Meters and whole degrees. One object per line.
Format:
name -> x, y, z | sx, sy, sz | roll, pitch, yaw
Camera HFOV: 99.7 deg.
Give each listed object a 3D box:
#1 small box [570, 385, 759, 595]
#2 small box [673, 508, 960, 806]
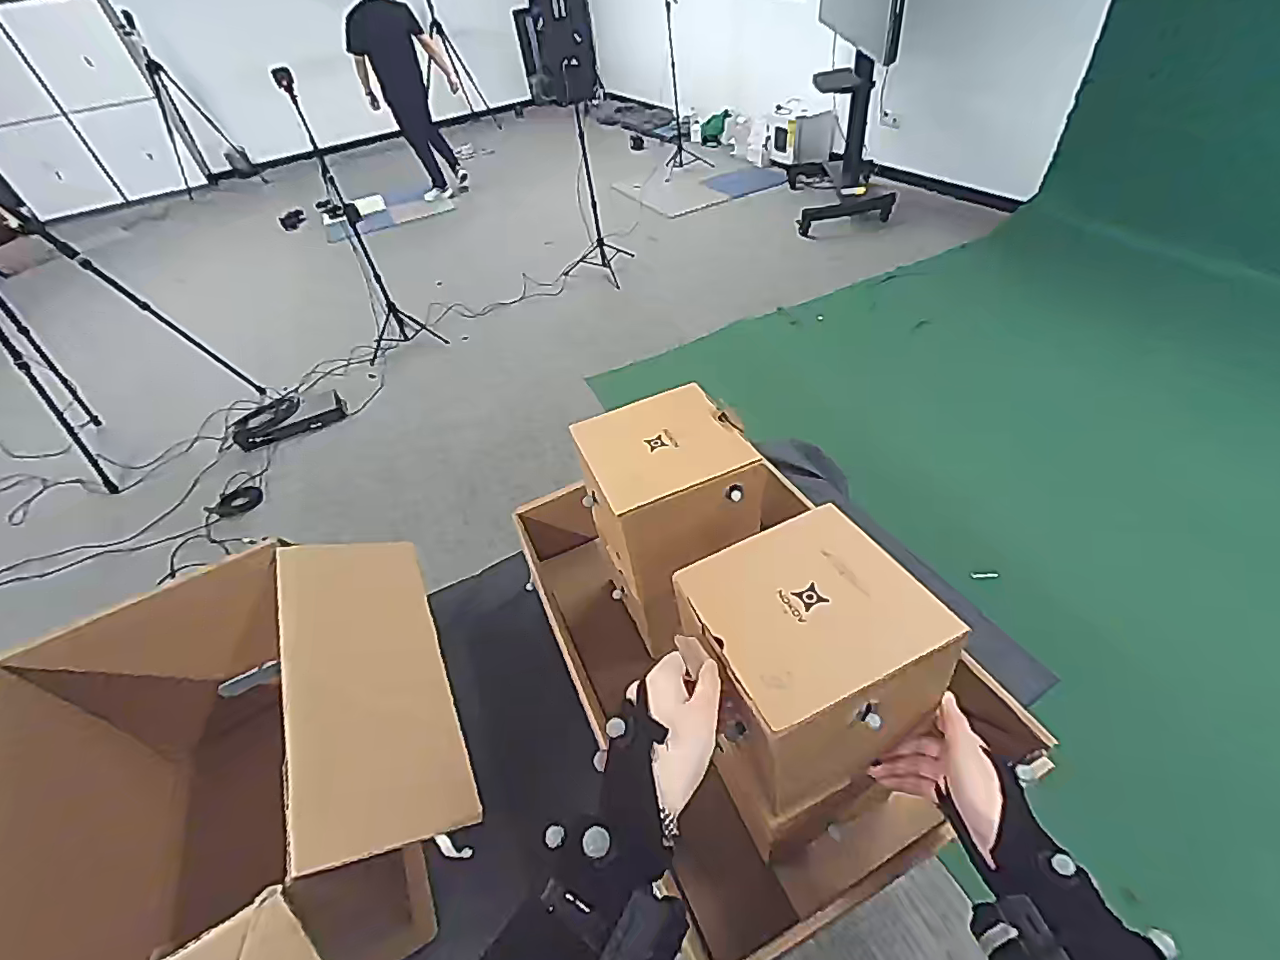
small box -> 0.032, 0.014, 0.677 | 0.179, 0.176, 0.168 | -21, 47, -12
small box -> 0.150, 0.163, 0.503 | 0.179, 0.176, 0.168 | -22, 42, -12
